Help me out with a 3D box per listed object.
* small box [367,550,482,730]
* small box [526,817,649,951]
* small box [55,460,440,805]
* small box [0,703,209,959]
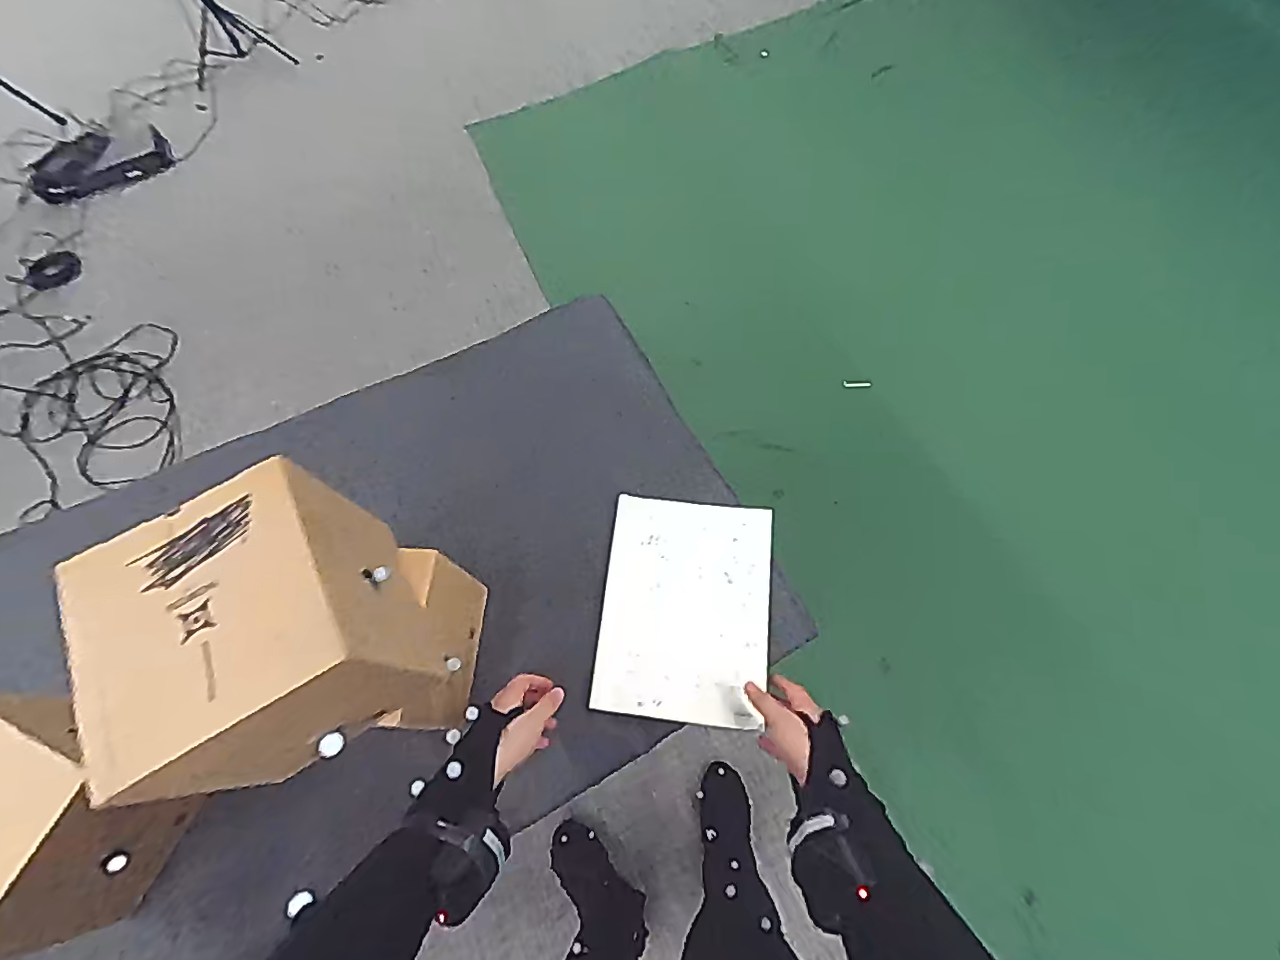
[{"bbox_3d":[-0.290,0.175,0.589,0.179,0.176,0.168,1,66,5],"label":"small box"},{"bbox_3d":[-0.098,0.805,1.078,0.176,0.168,0.179,29,43,-15],"label":"small box"},{"bbox_3d":[-0.292,0.120,0.433,0.168,0.176,0.179,-30,68,-8],"label":"small box"},{"bbox_3d":[-0.592,0.333,0.539,0.179,0.176,0.168,20,68,12],"label":"small box"}]
